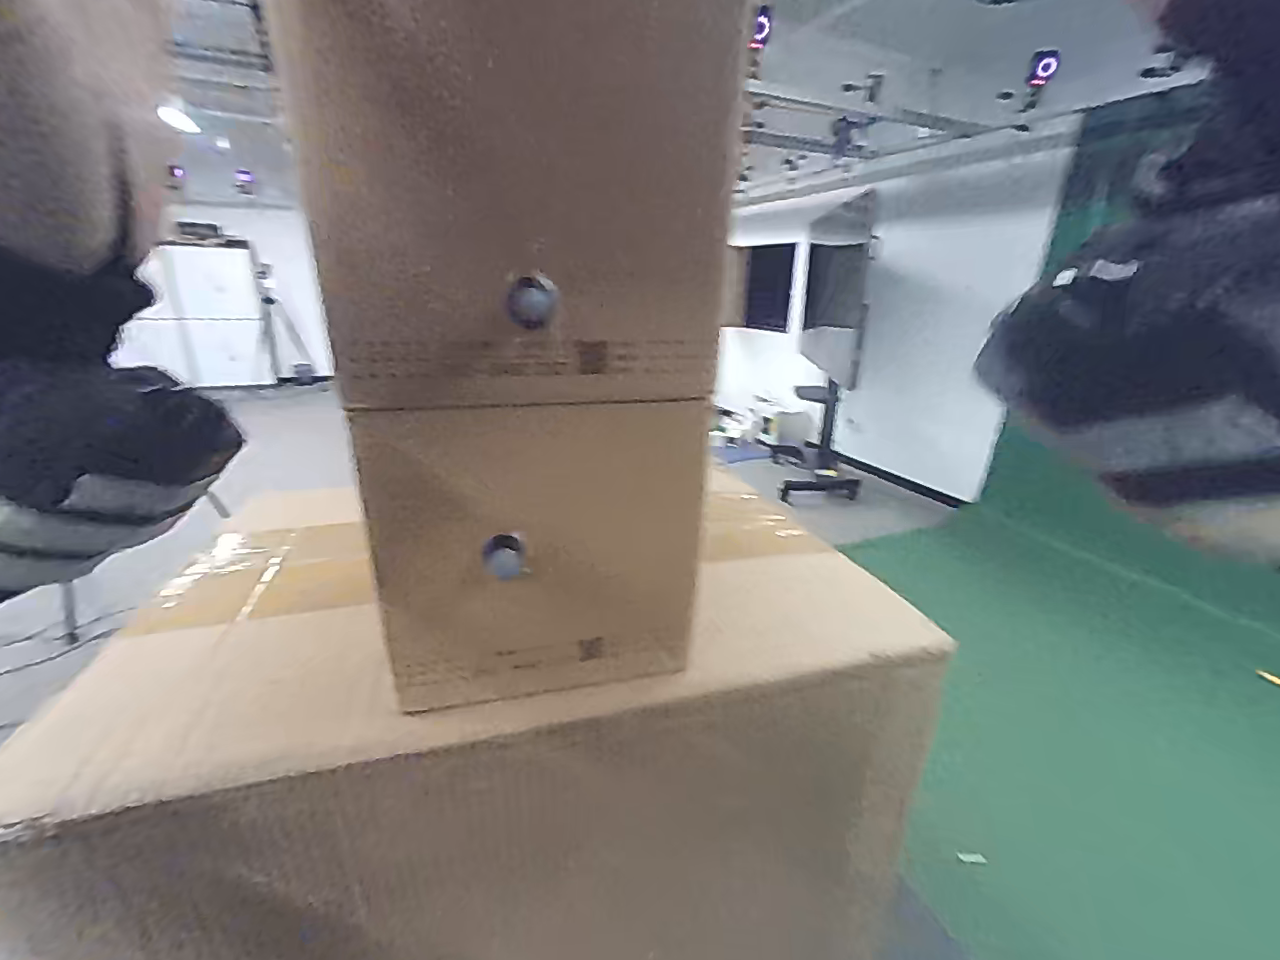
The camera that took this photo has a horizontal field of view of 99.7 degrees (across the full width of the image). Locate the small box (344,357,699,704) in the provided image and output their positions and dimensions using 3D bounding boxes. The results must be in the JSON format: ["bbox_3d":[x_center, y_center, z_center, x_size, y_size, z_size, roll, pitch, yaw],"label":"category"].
[{"bbox_3d":[-0.069,0.021,0.350,0.168,0.176,0.179,-4,22,-15],"label":"small box"}]
